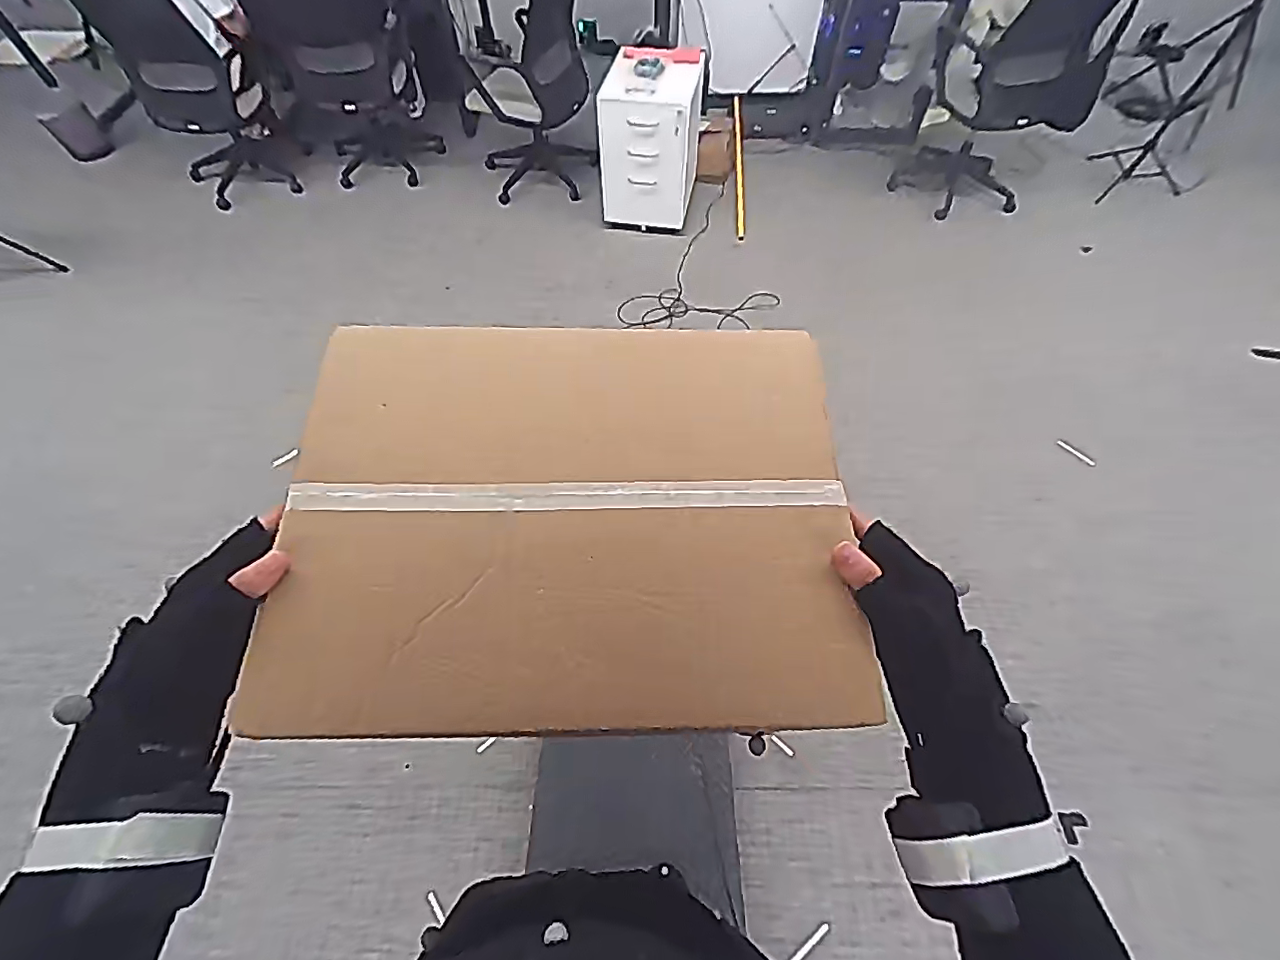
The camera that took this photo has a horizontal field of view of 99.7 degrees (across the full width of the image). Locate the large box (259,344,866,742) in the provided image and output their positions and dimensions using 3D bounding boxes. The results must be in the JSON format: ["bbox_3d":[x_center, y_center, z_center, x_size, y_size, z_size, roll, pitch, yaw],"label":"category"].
[{"bbox_3d":[-0.053,0.083,0.546,0.408,0.320,0.320,0,65,-2],"label":"large box"}]
